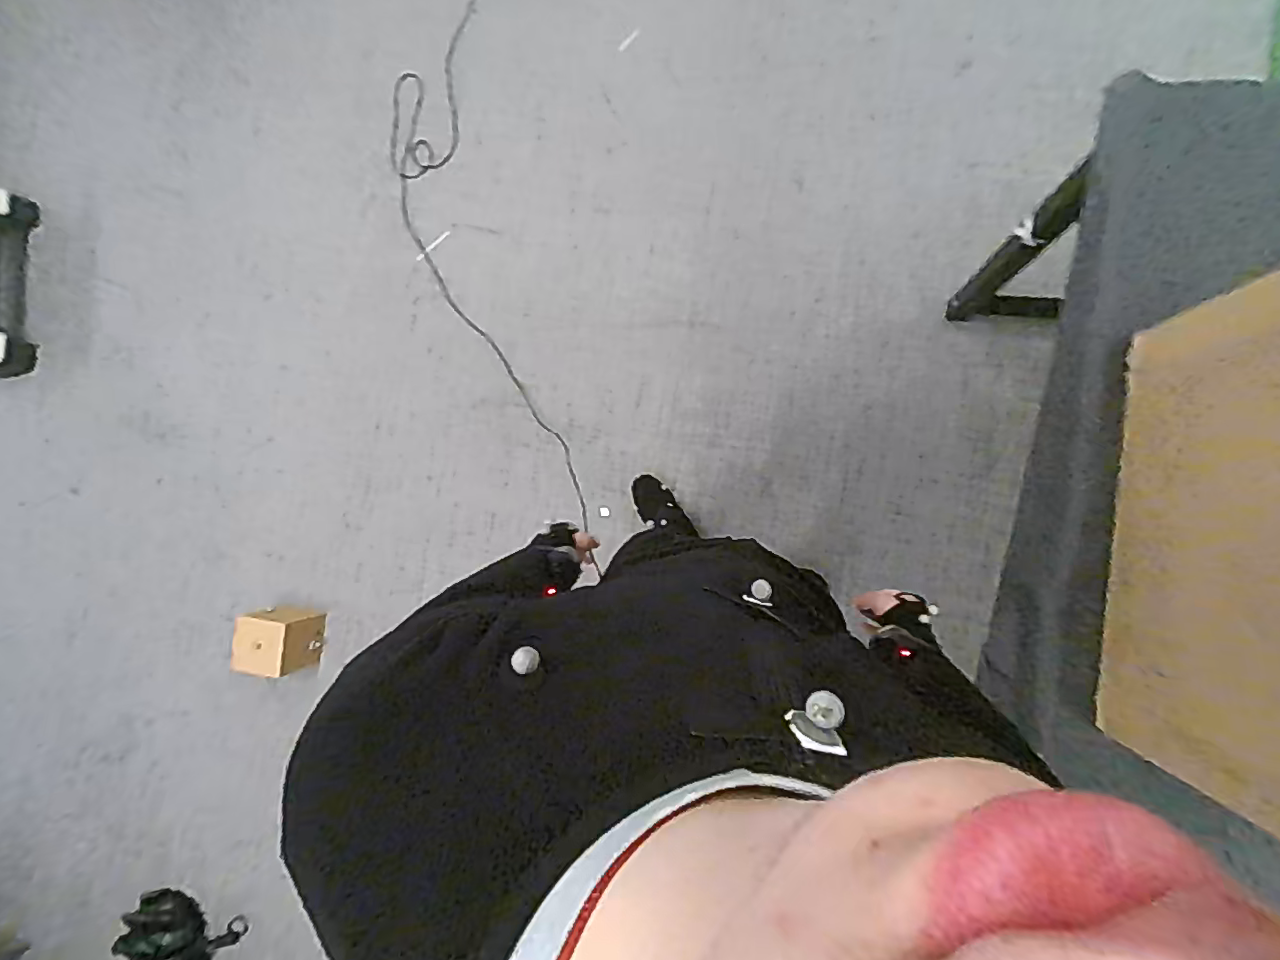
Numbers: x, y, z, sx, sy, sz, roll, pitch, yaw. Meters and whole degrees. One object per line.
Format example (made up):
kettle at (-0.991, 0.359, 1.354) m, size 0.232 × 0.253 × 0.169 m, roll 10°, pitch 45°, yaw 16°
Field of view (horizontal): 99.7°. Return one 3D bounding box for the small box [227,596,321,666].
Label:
small box at (-1.154, 0.470, 1.712) m, size 0.179 × 0.176 × 0.168 m, roll 6°, pitch 90°, yaw 9°
